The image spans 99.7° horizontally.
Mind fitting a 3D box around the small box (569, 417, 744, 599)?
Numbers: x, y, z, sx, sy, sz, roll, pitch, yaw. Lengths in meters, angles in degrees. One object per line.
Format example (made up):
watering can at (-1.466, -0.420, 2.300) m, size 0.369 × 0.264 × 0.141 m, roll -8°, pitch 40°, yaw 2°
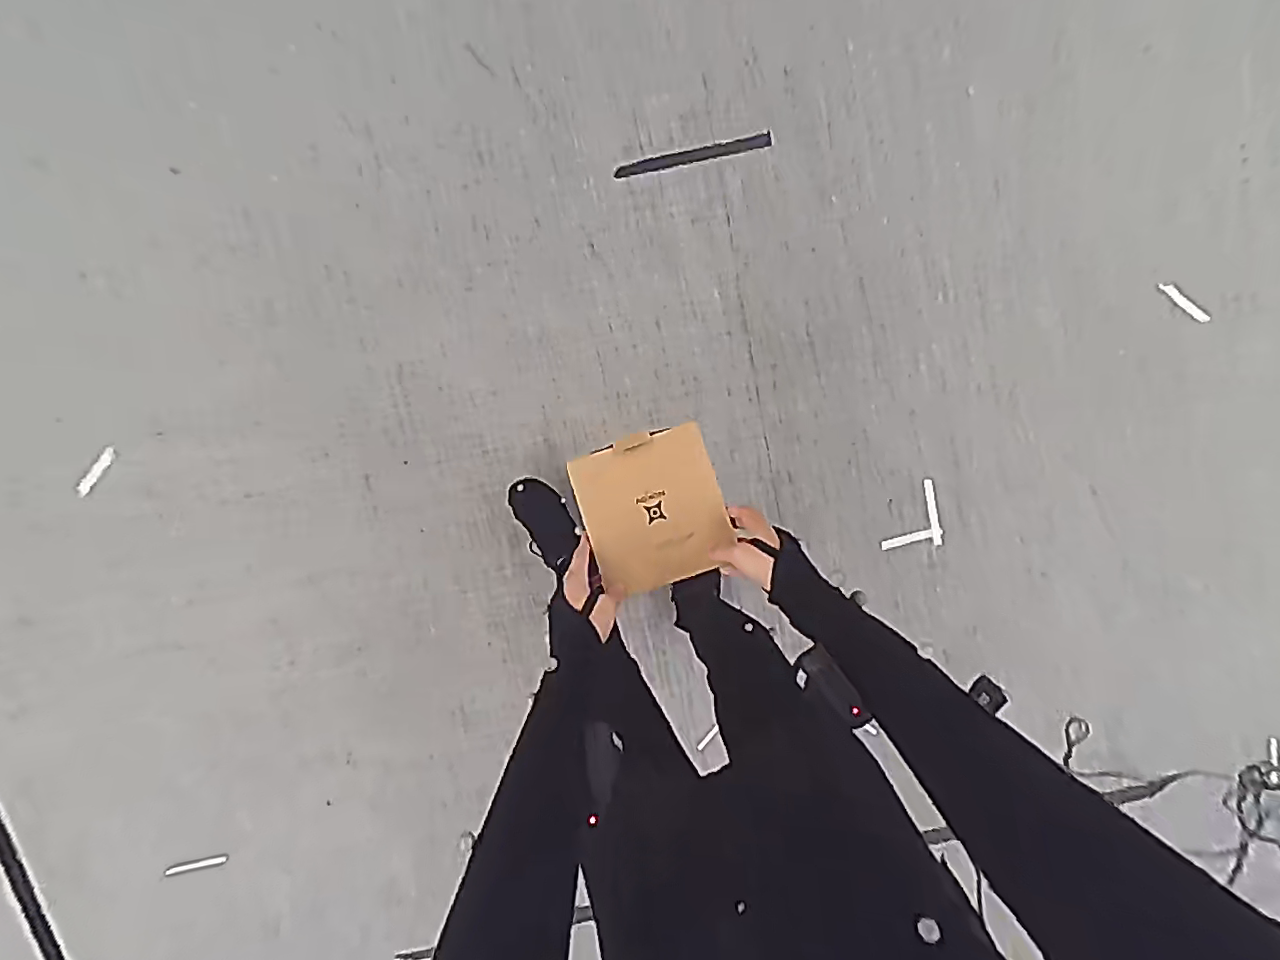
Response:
small box at (0.013, 0.040, 0.699) m, size 0.168 × 0.176 × 0.179 m, roll -18°, pitch 85°, yaw -5°
